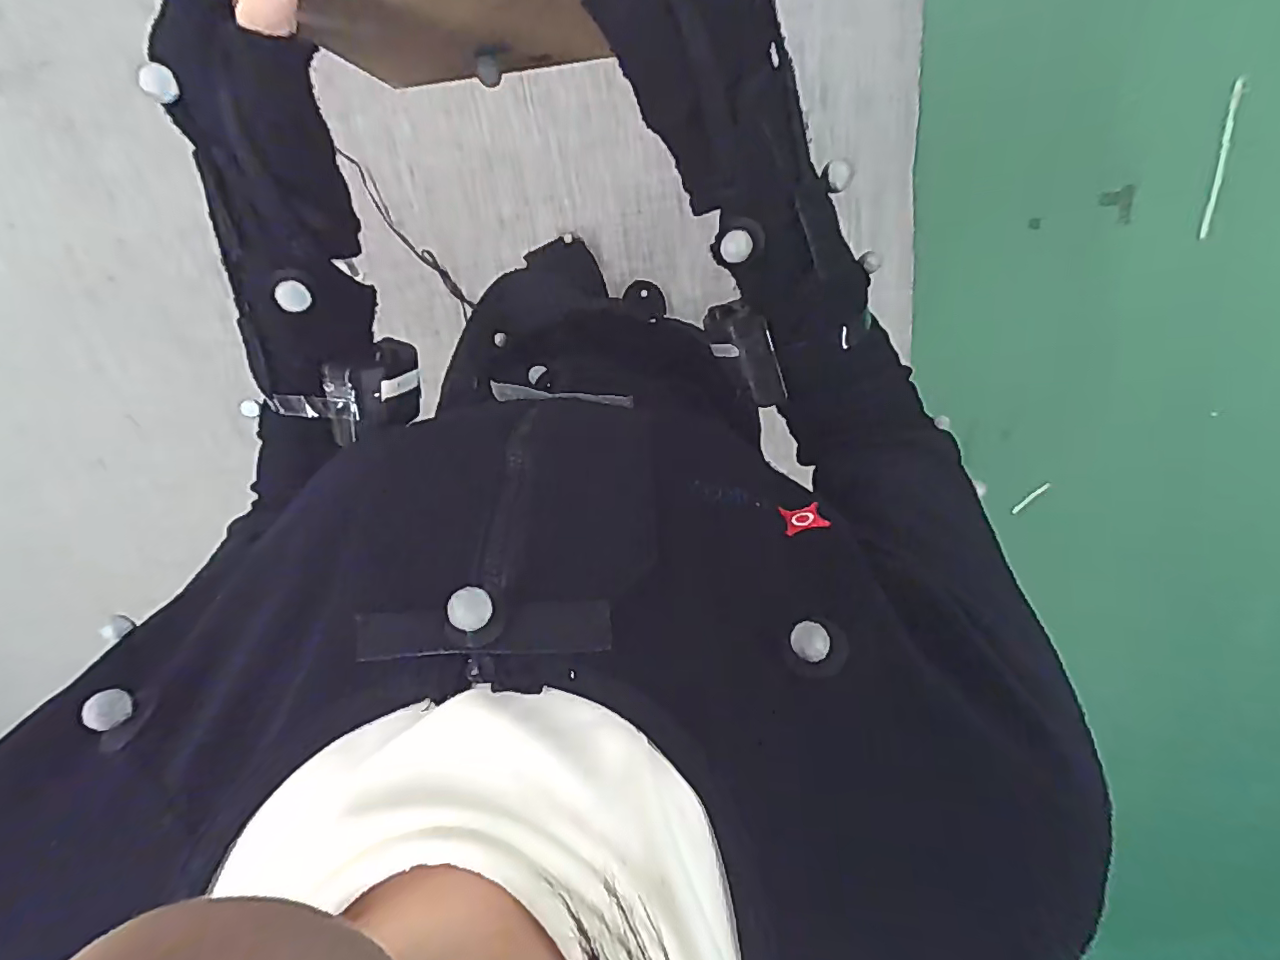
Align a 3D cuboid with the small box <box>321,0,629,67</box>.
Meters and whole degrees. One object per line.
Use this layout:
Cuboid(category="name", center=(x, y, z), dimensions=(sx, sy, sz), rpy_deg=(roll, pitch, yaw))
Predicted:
Cuboid(category="small box", center=(-0.096, -0.324, 0.246), dimensions=(0.168, 0.176, 0.179), rpy_deg=(-6, 115, 3))
